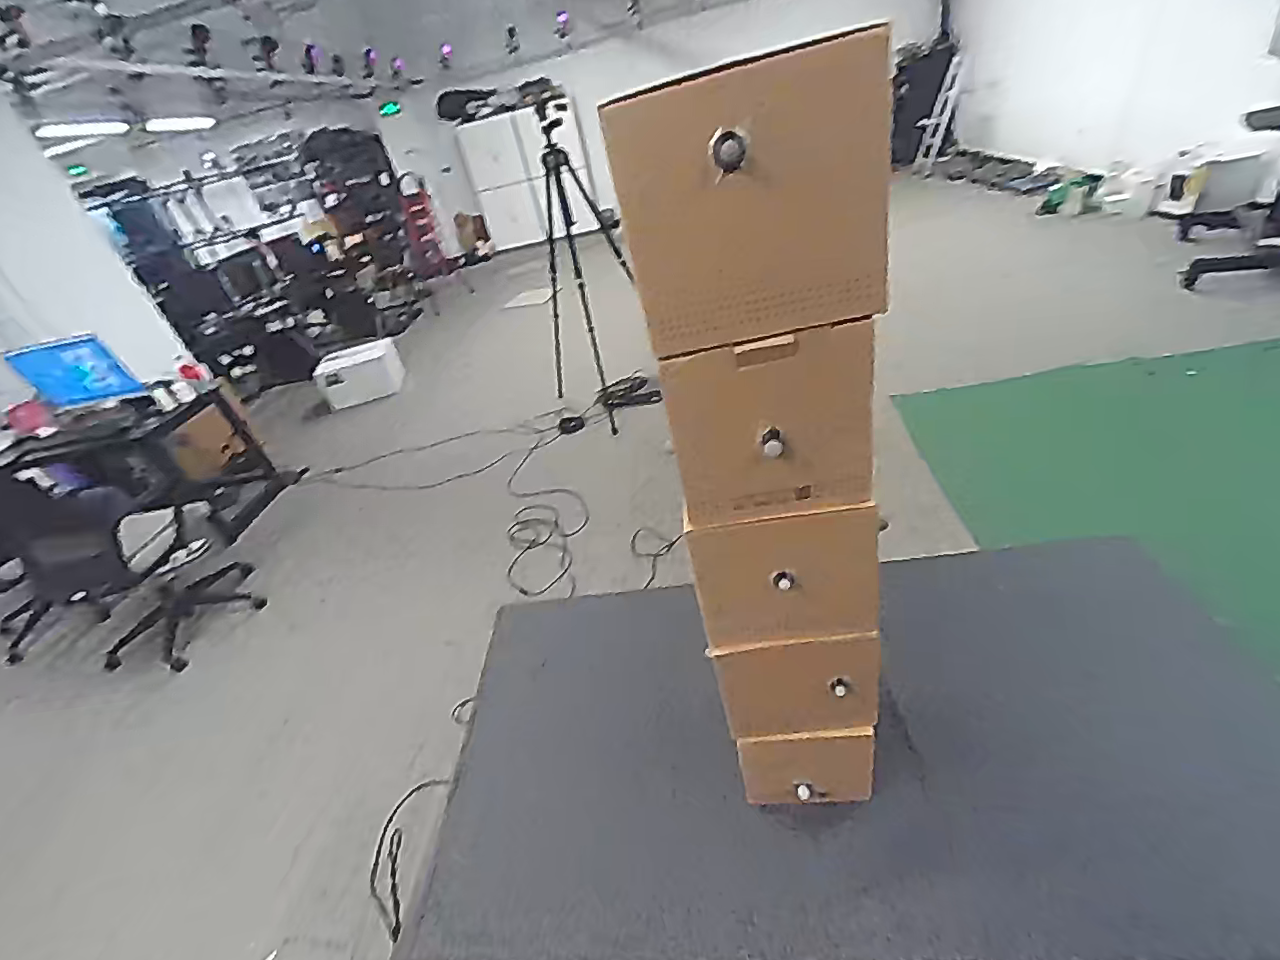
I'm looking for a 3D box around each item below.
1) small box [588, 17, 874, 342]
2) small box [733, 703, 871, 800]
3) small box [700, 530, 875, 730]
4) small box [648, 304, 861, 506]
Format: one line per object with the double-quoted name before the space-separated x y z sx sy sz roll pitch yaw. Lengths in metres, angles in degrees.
"small box" 0.074 -0.223 0.429 0.179 0.176 0.168 -9 33 10
"small box" 0.216 0.322 0.766 0.168 0.176 0.179 -8 34 10
"small box" 0.177 0.189 0.680 0.179 0.176 0.168 -10 33 8
"small box" 0.107 -0.088 0.520 0.168 0.176 0.179 -9 33 9
